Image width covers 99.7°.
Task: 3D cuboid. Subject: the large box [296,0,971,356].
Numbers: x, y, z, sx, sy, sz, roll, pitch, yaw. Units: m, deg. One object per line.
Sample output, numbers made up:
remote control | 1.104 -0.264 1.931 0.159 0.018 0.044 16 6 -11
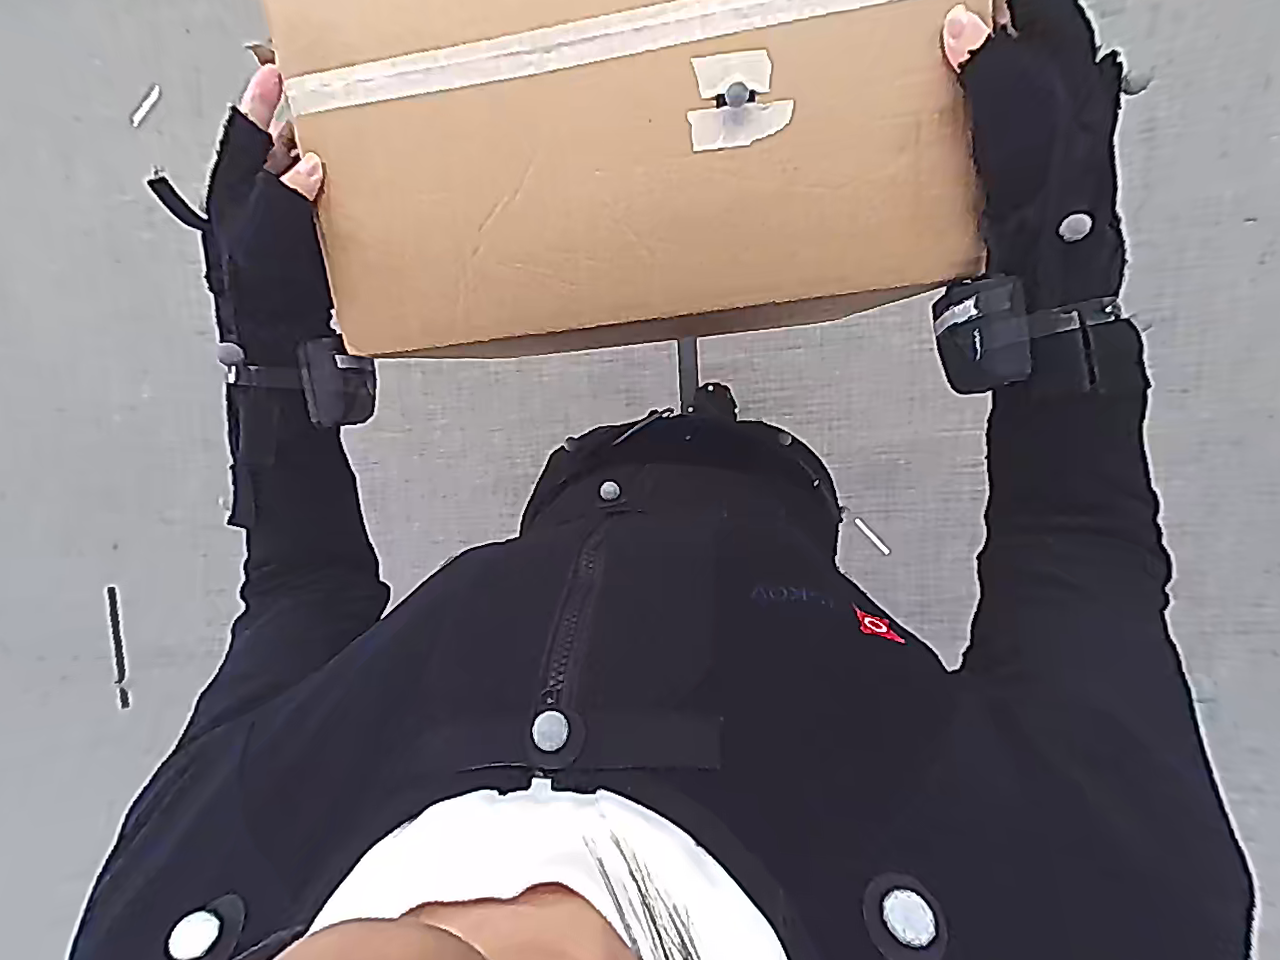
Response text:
large box | -0.001 -0.293 0.470 0.408 0.320 0.320 -6 102 6
